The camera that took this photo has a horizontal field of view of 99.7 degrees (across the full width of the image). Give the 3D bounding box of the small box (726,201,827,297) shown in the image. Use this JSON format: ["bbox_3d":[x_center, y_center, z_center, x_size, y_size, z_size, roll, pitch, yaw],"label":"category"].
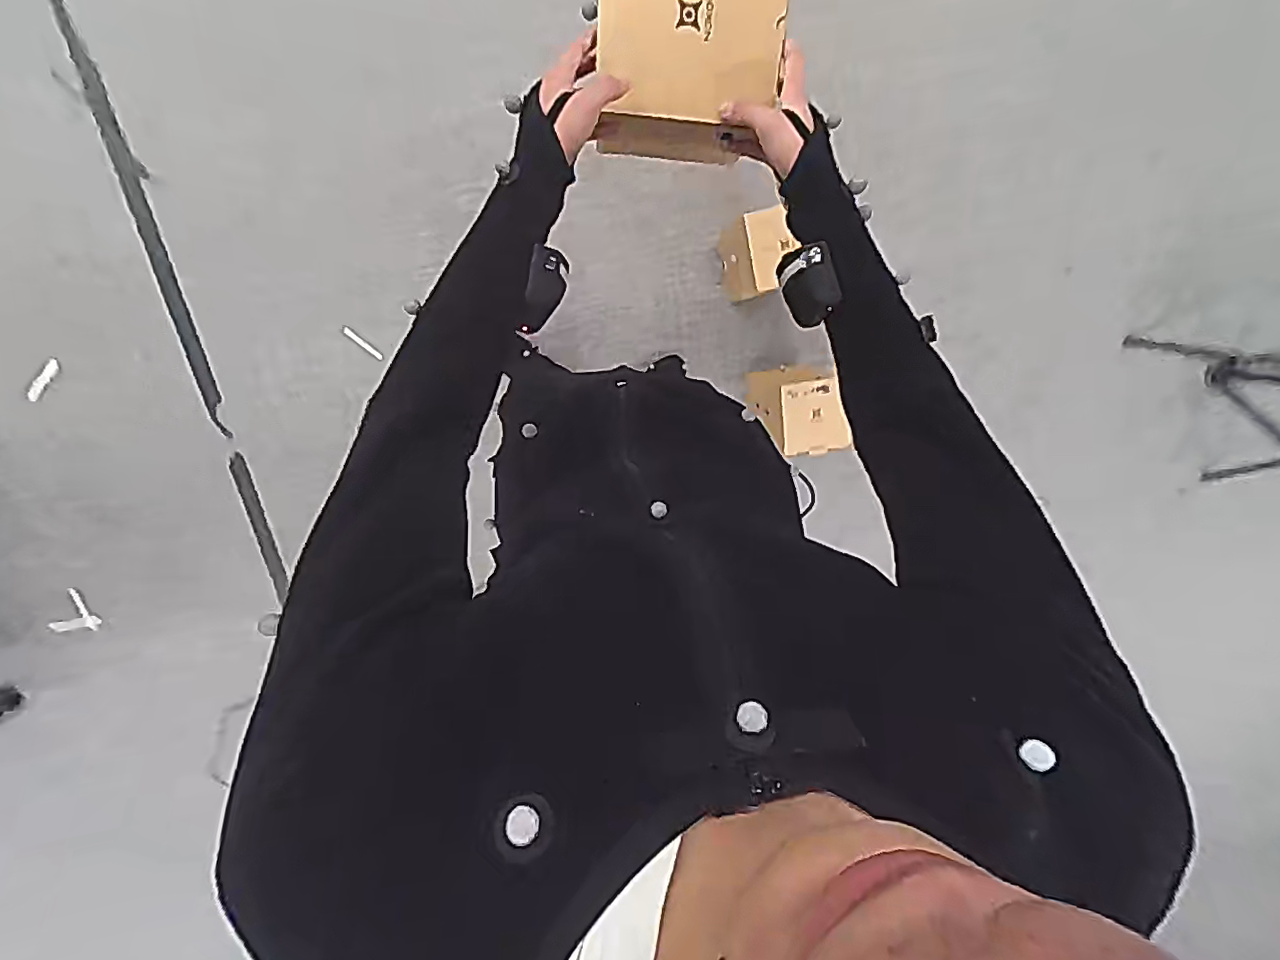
[{"bbox_3d":[0.316,-0.533,1.268,0.179,0.176,0.168,-13,106,0],"label":"small box"}]

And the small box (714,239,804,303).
[{"bbox_3d":[0.311,-0.572,1.428,0.179,0.176,0.168,-15,106,1],"label":"small box"}]

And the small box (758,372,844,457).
[{"bbox_3d":[0.405,-0.170,1.380,0.168,0.176,0.179,-8,108,-2],"label":"small box"}]

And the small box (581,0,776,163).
[{"bbox_3d":[0.028,-0.443,0.563,0.179,0.176,0.168,0,110,-7],"label":"small box"}]

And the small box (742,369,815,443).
[{"bbox_3d":[0.393,-0.216,1.537,0.168,0.176,0.179,-8,107,-1],"label":"small box"}]
